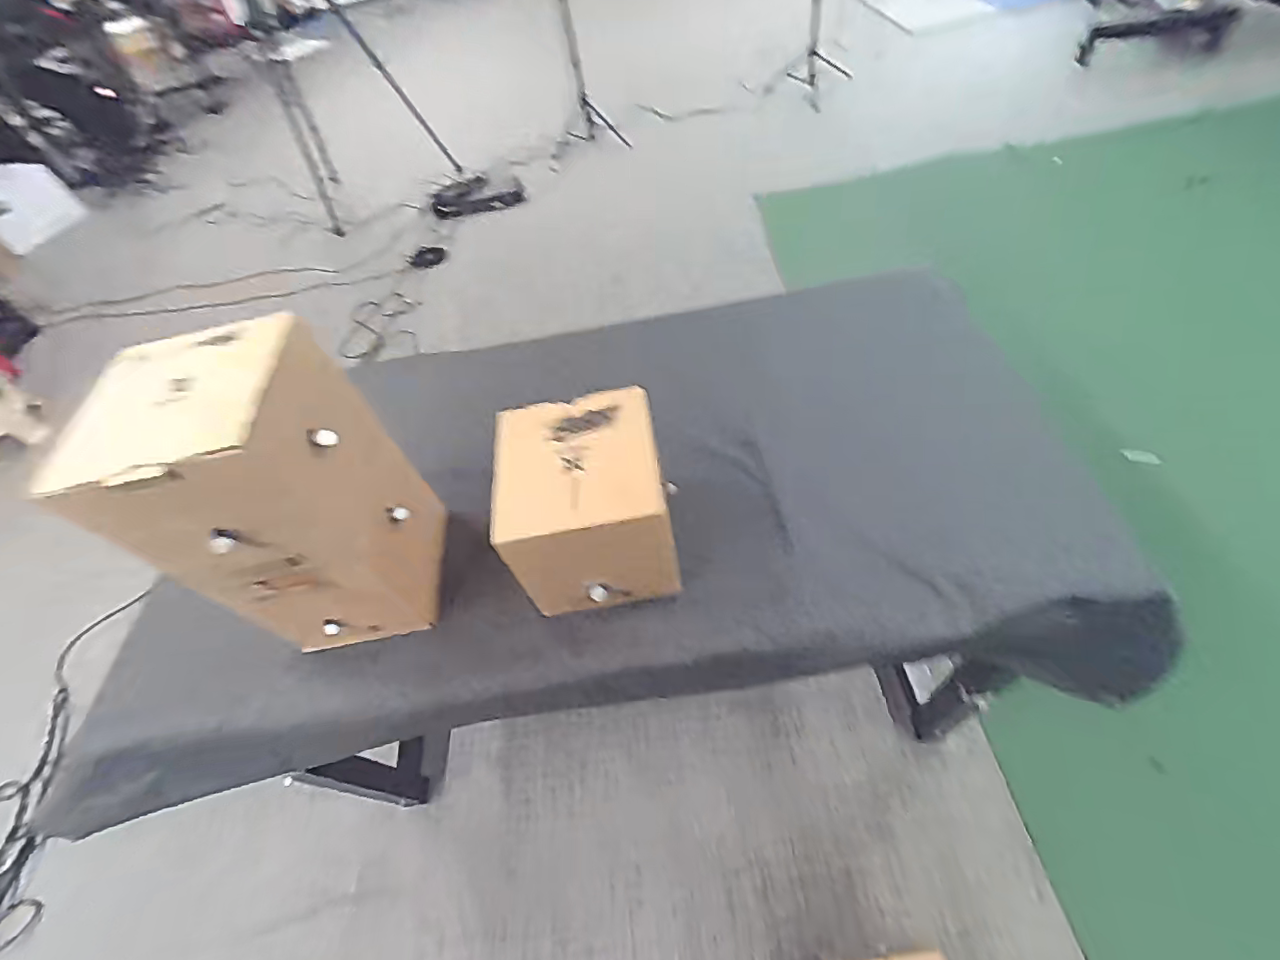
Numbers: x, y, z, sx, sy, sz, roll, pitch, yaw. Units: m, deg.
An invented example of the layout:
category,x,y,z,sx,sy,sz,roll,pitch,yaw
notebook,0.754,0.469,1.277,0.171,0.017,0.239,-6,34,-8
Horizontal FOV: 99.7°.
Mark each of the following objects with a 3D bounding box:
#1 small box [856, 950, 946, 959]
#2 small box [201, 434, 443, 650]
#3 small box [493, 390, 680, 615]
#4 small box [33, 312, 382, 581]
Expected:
category,x,y,z,sx,sy,sz,roll,pitch,yaw
small box,0.398,0.844,0.828,0.179,0.176,0.168,-12,51,2
small box,-0.347,0.076,0.636,0.168,0.176,0.179,-12,52,2
small box,-0.053,0.029,0.611,0.168,0.176,0.179,-11,51,3
small box,-0.366,-0.021,0.506,0.168,0.176,0.179,-13,53,1
